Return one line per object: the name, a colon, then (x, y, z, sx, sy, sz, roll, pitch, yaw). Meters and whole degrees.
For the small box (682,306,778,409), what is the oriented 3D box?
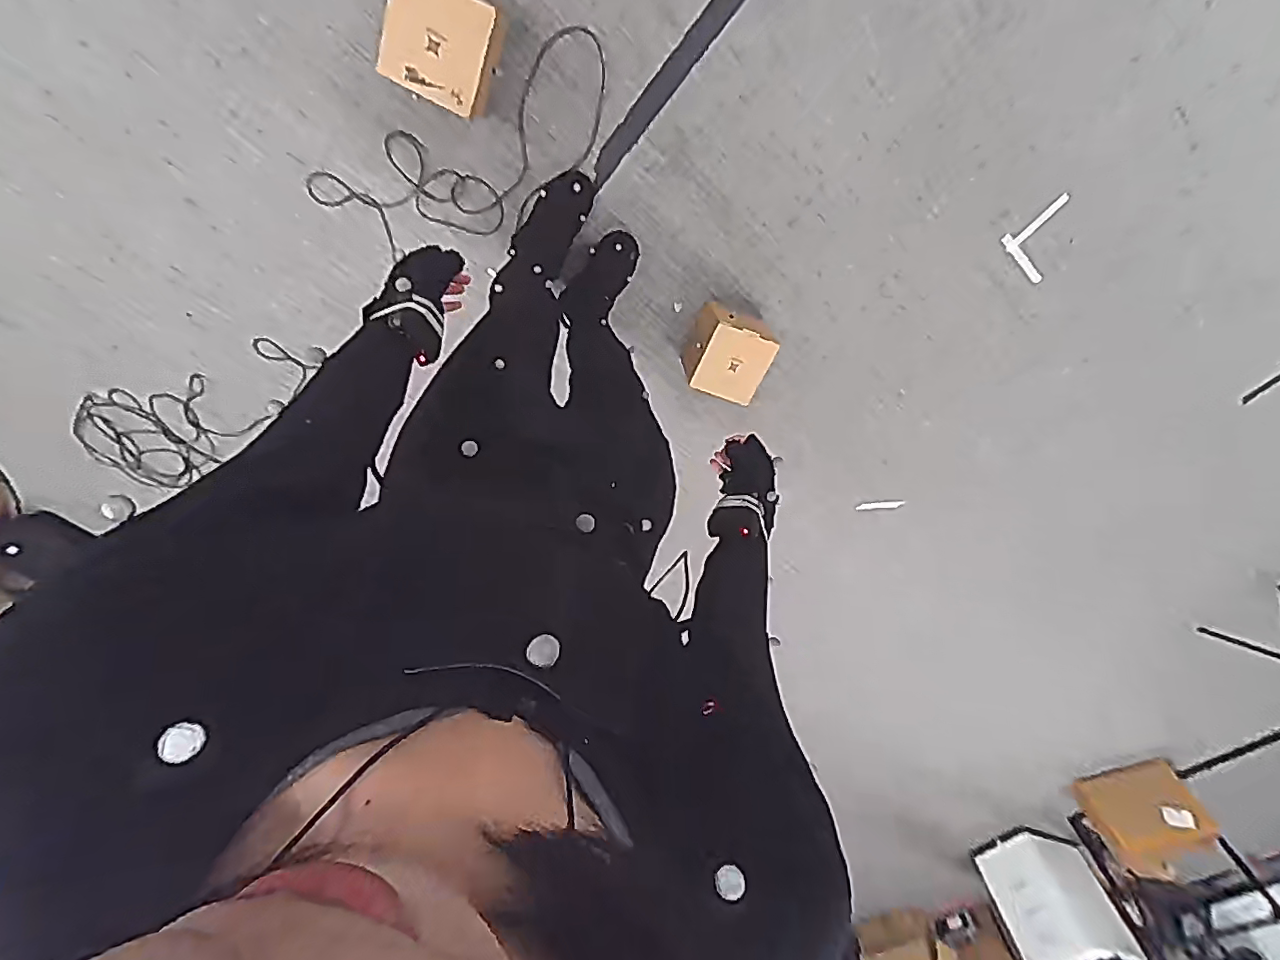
small box: (0.214, -0.313, 1.358, 0.168, 0.176, 0.179, 17, 122, -14)

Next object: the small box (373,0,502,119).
small box: (-0.358, -0.790, 0.980, 0.168, 0.176, 0.179, 20, 120, -18)
